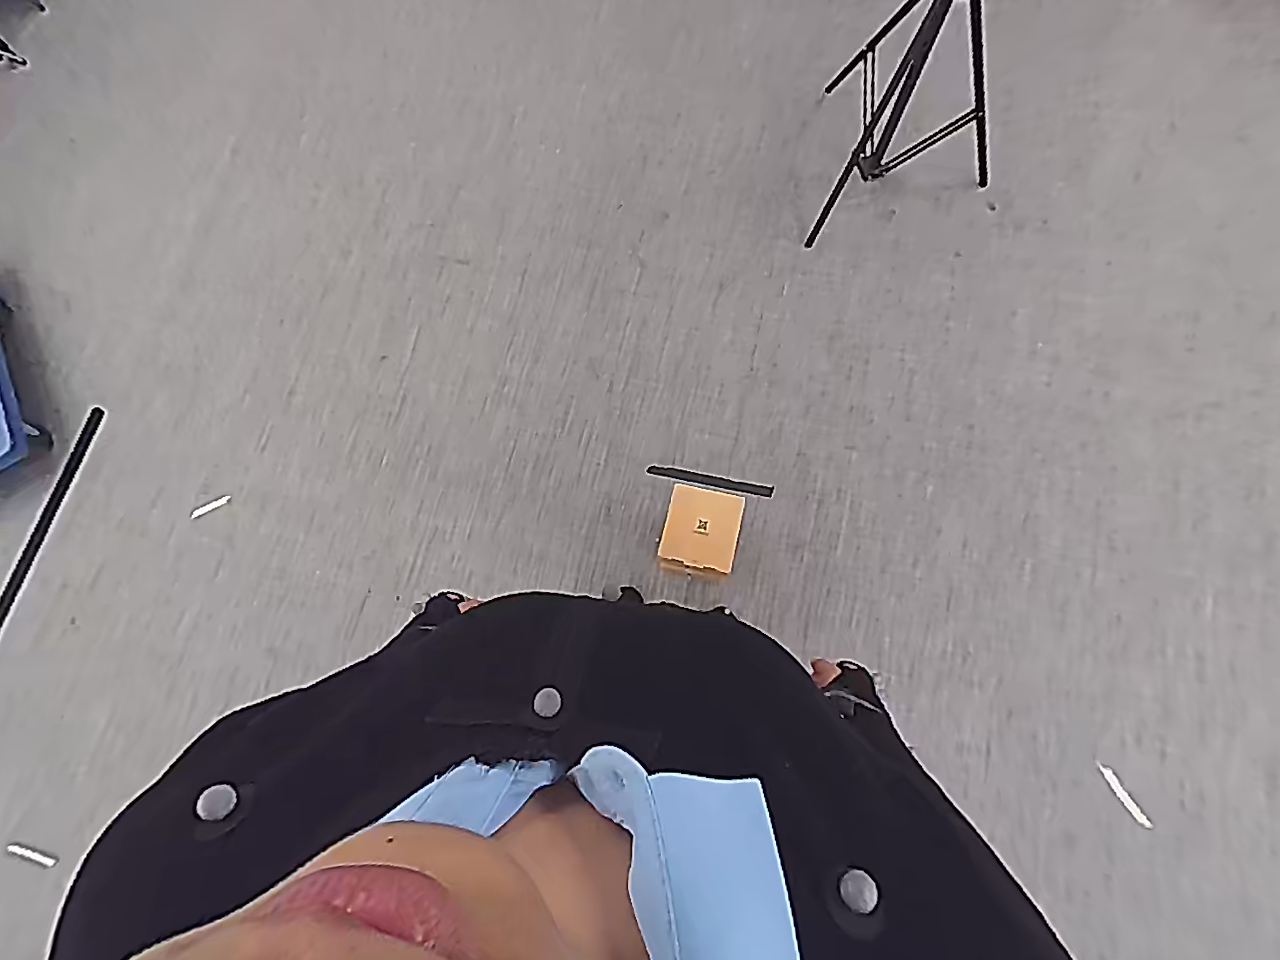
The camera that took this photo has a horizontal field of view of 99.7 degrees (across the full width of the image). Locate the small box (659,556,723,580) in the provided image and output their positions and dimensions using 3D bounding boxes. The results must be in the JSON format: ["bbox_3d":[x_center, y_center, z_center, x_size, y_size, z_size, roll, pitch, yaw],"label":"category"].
[{"bbox_3d":[0.150,0.165,1.436,0.168,0.176,0.179,11,78,6],"label":"small box"}]

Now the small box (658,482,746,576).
[{"bbox_3d":[0.144,0.121,1.278,0.168,0.176,0.179,12,79,8],"label":"small box"}]
